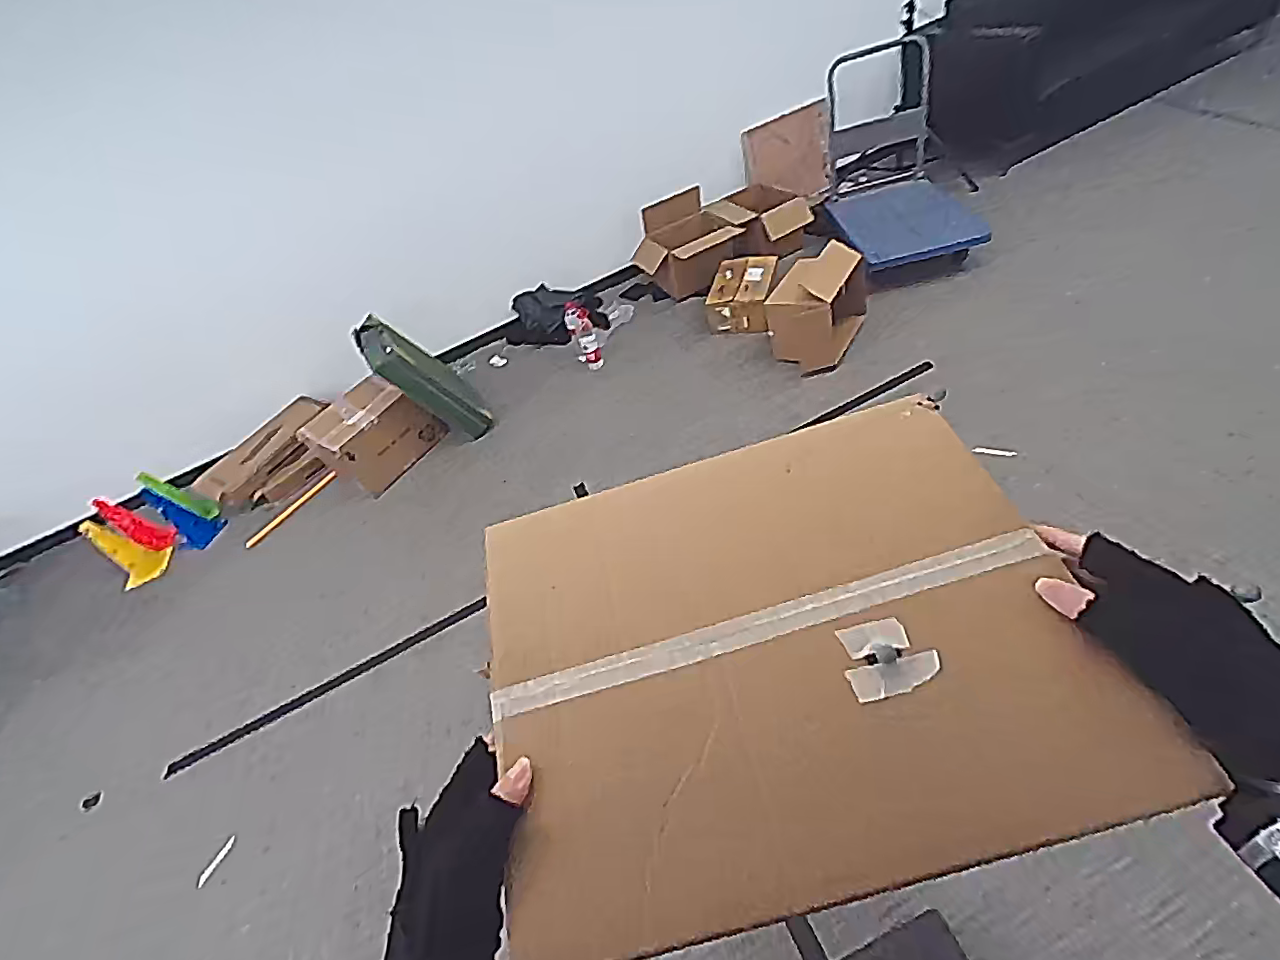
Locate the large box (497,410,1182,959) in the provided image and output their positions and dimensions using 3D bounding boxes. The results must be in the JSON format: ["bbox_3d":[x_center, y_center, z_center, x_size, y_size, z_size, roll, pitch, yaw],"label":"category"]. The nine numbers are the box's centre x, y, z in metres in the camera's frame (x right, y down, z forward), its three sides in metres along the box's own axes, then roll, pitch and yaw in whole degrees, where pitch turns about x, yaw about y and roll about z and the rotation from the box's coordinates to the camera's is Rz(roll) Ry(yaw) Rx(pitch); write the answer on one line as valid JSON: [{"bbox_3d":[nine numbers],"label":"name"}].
[{"bbox_3d":[0.119,0.197,0.520,0.408,0.320,0.320,-17,54,2],"label":"large box"}]
